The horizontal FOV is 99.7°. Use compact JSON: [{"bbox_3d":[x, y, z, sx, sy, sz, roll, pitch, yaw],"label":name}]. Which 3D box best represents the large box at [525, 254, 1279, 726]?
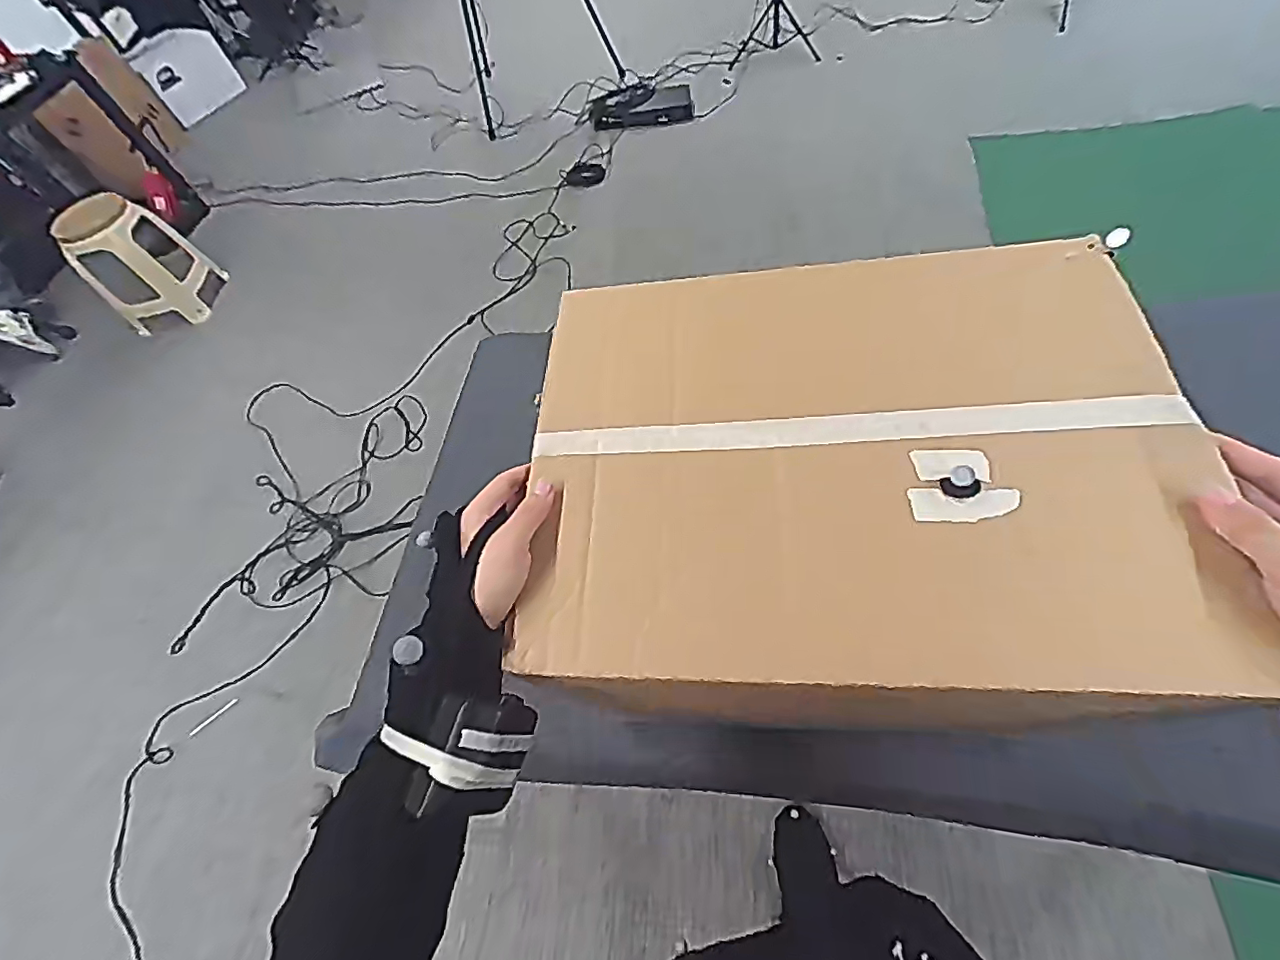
[{"bbox_3d":[0.151,0.041,0.497,0.408,0.320,0.320,-2,62,9],"label":"large box"}]
